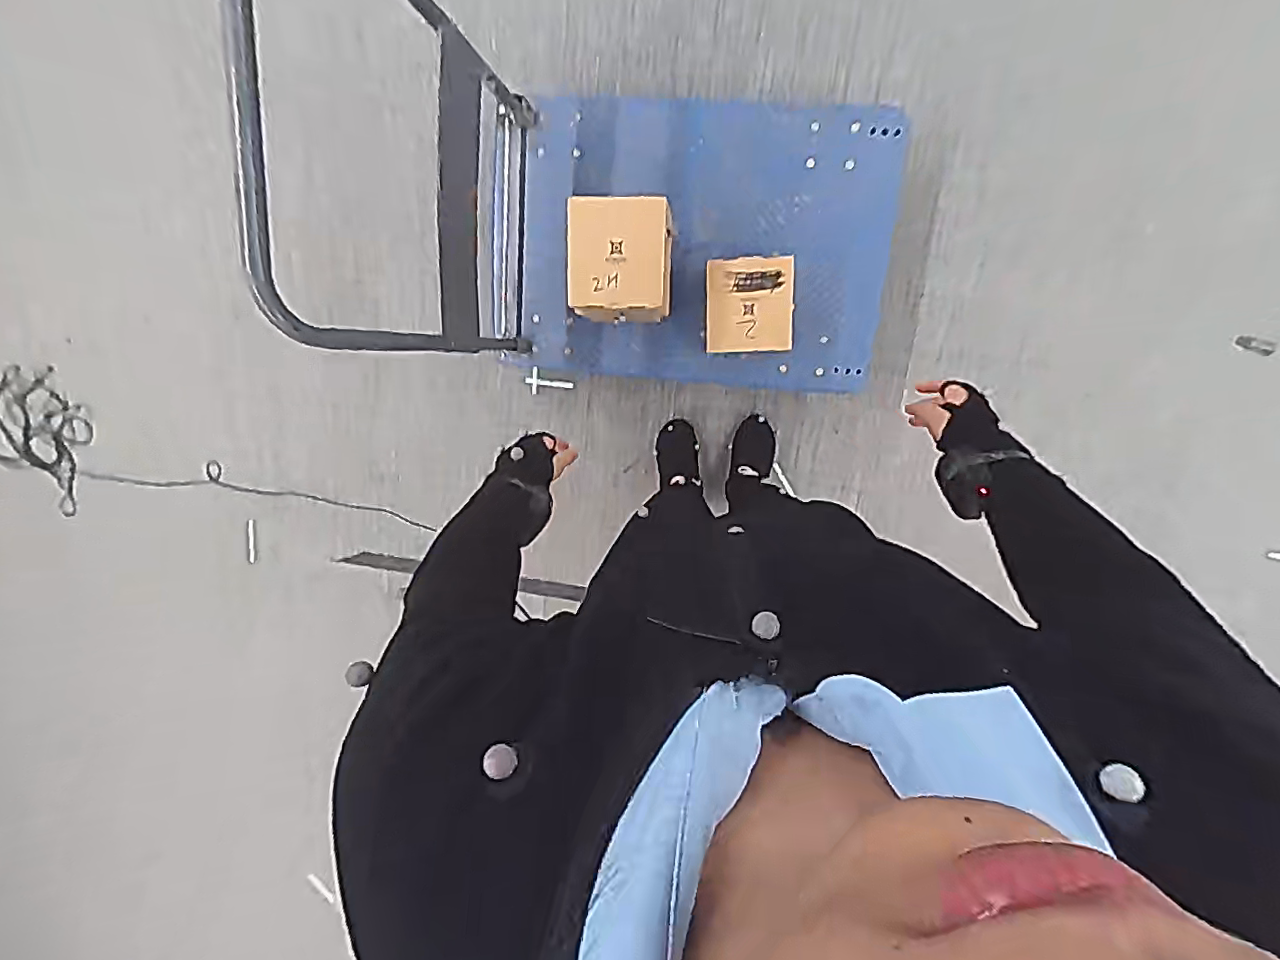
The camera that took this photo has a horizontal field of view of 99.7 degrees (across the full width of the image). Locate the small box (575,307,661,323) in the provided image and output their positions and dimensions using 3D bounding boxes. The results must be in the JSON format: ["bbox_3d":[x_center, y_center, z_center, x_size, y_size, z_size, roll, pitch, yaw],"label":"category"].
[{"bbox_3d":[-0.039,-0.430,1.139,0.168,0.176,0.179,2,103,6],"label":"small box"}]

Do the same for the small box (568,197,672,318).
[{"bbox_3d":[-0.031,-0.393,0.977,0.168,0.176,0.179,3,103,6],"label":"small box"}]
